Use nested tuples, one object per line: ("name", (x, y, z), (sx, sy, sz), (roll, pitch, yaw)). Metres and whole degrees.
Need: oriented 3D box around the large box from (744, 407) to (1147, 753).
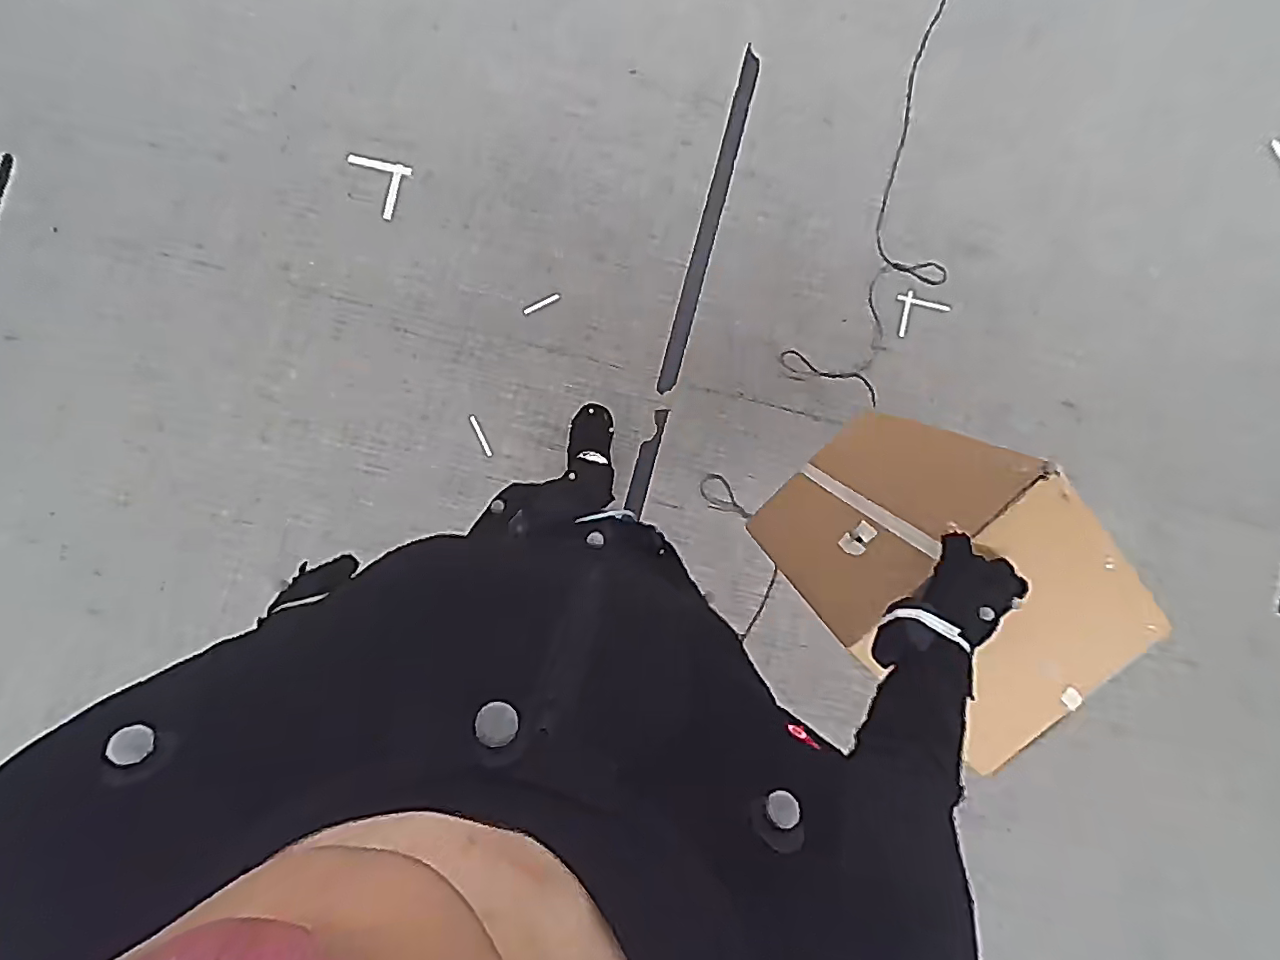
("large box", (0.436, 0.125, 0.867), (0.320, 0.408, 0.320), (40, 98, -19))
